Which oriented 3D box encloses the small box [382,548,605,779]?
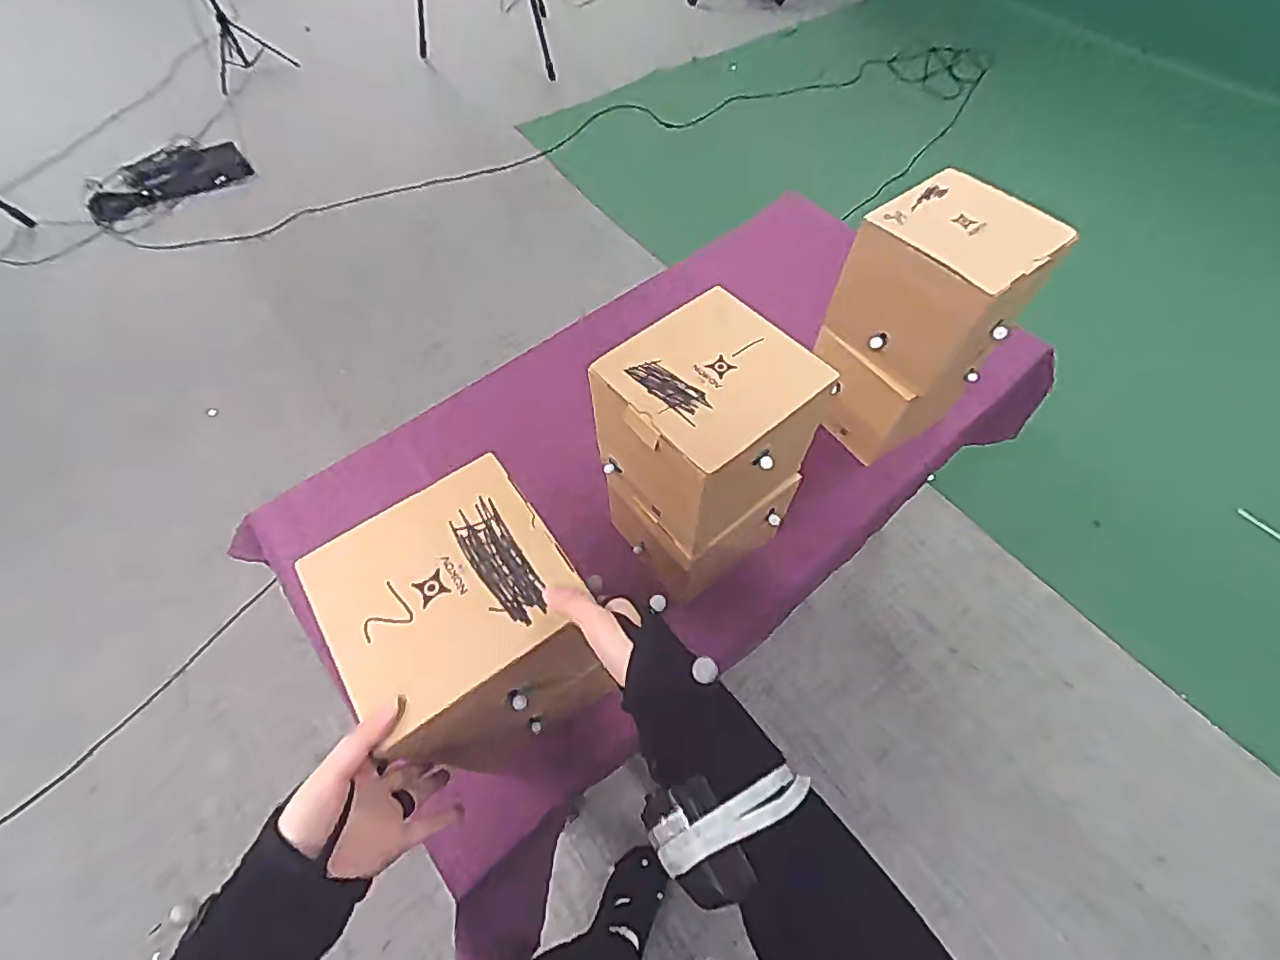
[{"bbox_3d":[-0.153,0.215,0.615,0.179,0.176,0.168,-29,63,-16],"label":"small box"}]

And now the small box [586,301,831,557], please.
[{"bbox_3d":[0.065,-0.048,0.578,0.179,0.176,0.168,-36,65,-20],"label":"small box"}]

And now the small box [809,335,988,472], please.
[{"bbox_3d":[0.368,-0.143,0.825,0.179,0.176,0.168,-30,63,-16],"label":"small box"}]

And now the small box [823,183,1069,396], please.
[{"bbox_3d":[0.368,-0.230,0.685,0.168,0.176,0.179,-33,64,-18],"label":"small box"}]

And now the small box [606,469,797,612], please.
[{"bbox_3d":[0.072,0.043,0.715,0.179,0.176,0.168,-33,63,-18],"label":"small box"}]
